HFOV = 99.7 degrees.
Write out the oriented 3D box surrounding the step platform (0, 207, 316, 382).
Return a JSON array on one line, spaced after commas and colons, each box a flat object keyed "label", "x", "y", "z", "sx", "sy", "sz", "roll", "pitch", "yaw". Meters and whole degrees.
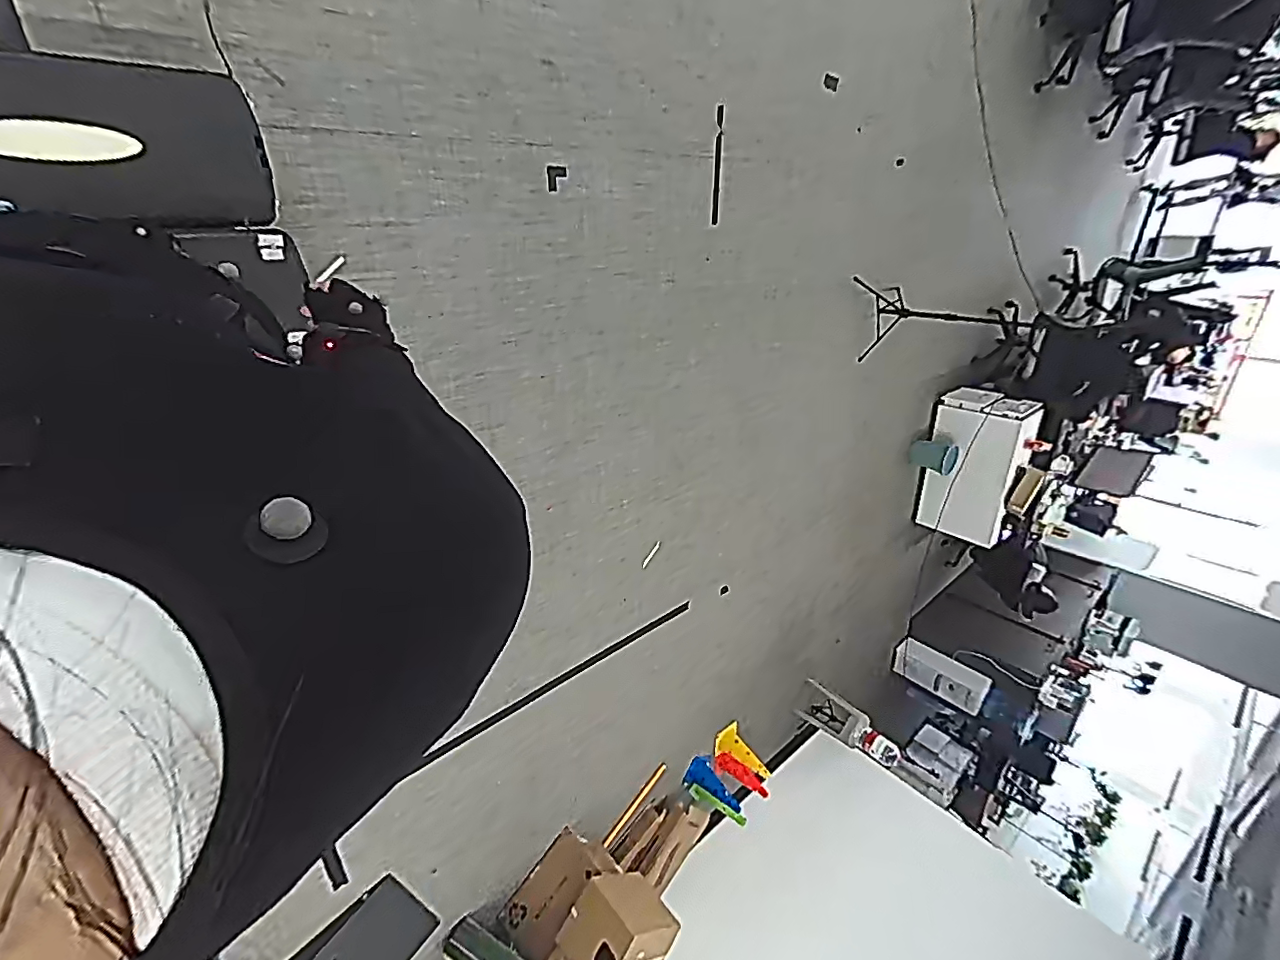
[{"label": "step platform", "x": -1.050, "y": -0.382, "z": 1.080, "sx": 0.684, "sy": 0.204, "sz": 0.286, "roll": -21, "pitch": 120, "yaw": -34}]
